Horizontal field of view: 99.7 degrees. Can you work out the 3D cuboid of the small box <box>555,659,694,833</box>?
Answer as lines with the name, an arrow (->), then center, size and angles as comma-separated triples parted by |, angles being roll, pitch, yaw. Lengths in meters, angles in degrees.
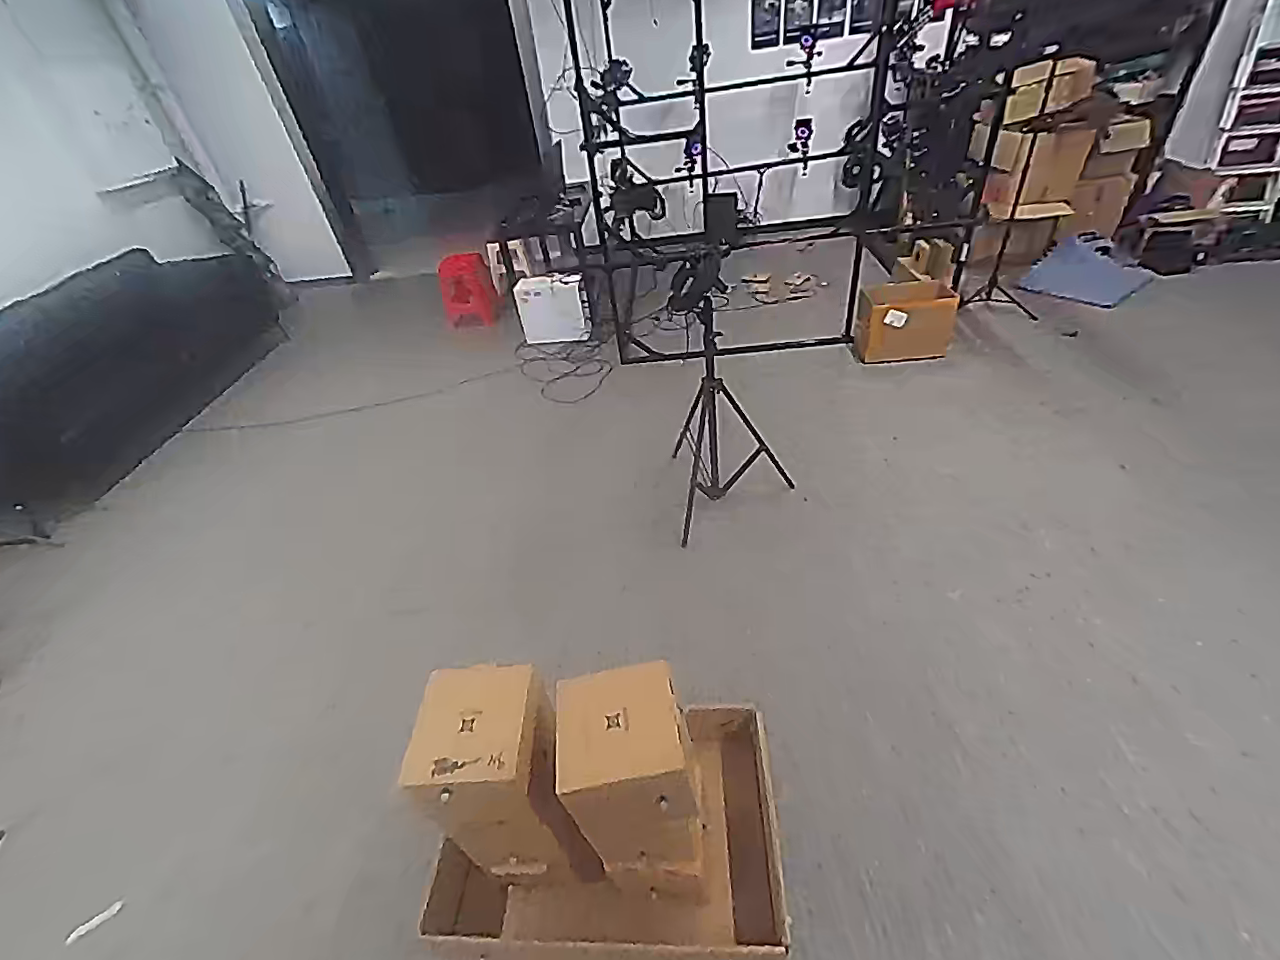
small box -> -0.019, 0.399, 0.810 | 0.179, 0.176, 0.168 | -13, 38, 3

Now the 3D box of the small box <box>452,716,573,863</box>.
small box -> -0.209, 0.536, 0.939 | 0.168, 0.176, 0.179 | -5, 40, 5

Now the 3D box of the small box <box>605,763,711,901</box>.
small box -> 0.041, 0.652, 1.009 | 0.168, 0.176, 0.179 | -5, 40, 11

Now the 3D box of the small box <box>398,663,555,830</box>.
small box -> -0.236, 0.410, 0.835 | 0.168, 0.176, 0.179 | -6, 38, 5
